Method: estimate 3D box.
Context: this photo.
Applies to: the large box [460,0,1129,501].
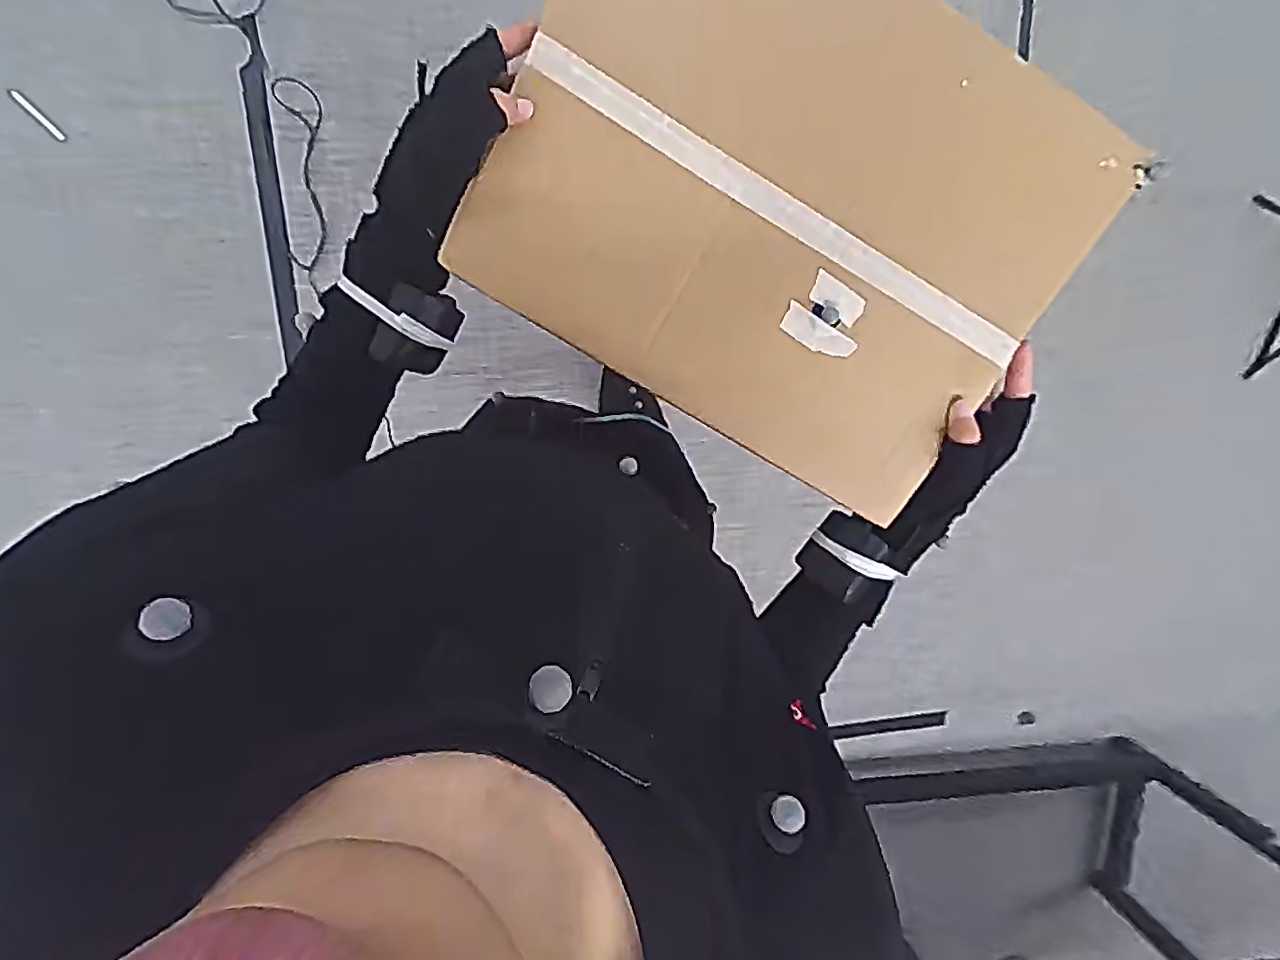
[{"bbox_3d":[0.107,-0.237,0.542,0.408,0.320,0.320,30,103,-7],"label":"large box"}]
